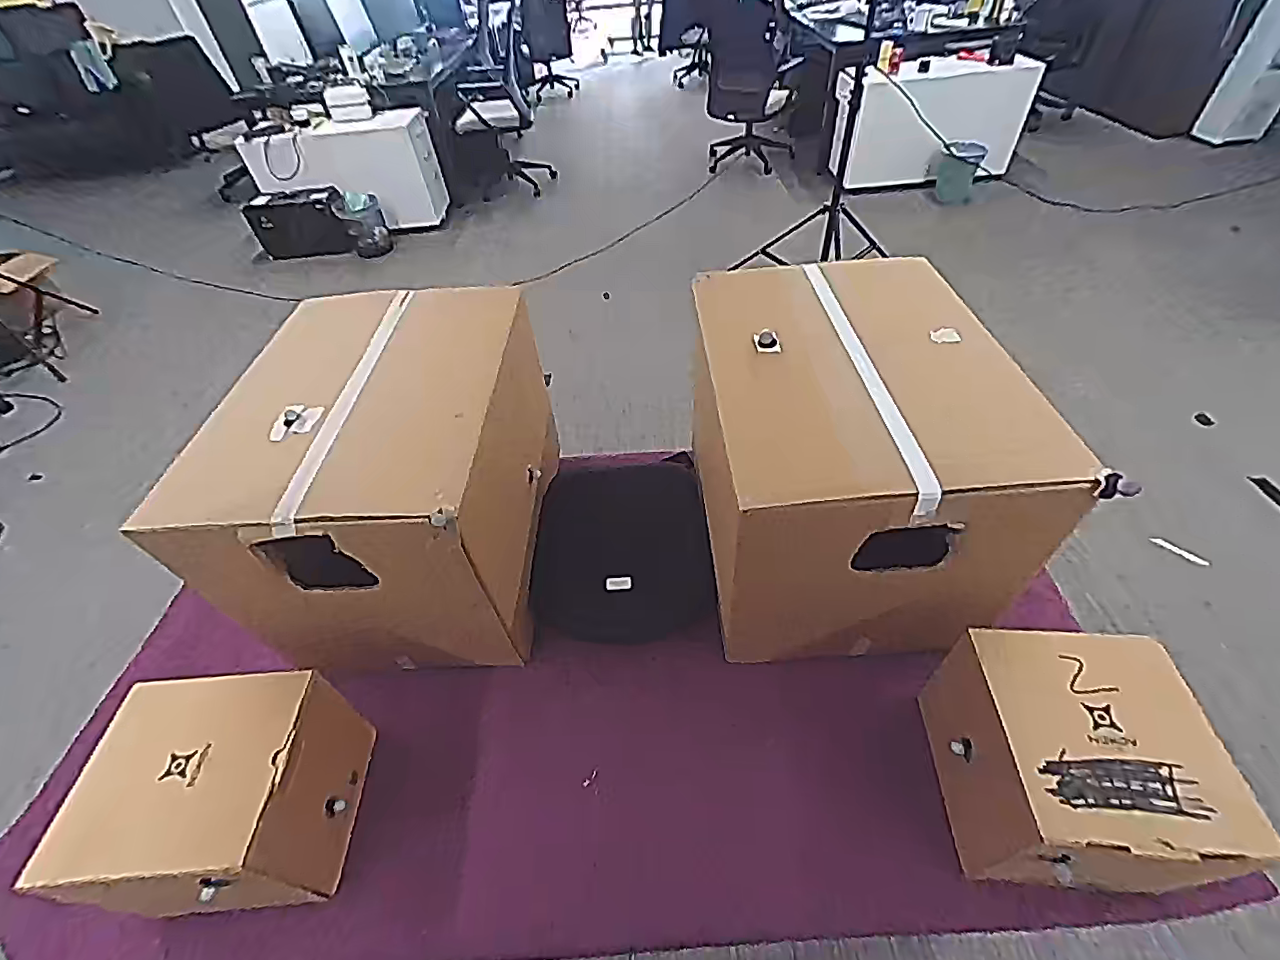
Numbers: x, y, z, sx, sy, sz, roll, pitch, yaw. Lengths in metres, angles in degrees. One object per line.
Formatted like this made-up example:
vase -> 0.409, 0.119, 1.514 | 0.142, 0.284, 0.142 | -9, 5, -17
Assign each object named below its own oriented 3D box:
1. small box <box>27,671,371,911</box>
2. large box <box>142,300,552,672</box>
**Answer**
small box -> -0.406, 0.313, 0.544 | 0.179, 0.176, 0.168 | -4, 46, -3
large box -> -0.307, 0.004, 0.734 | 0.320, 0.320, 0.408 | -4, 49, 3
